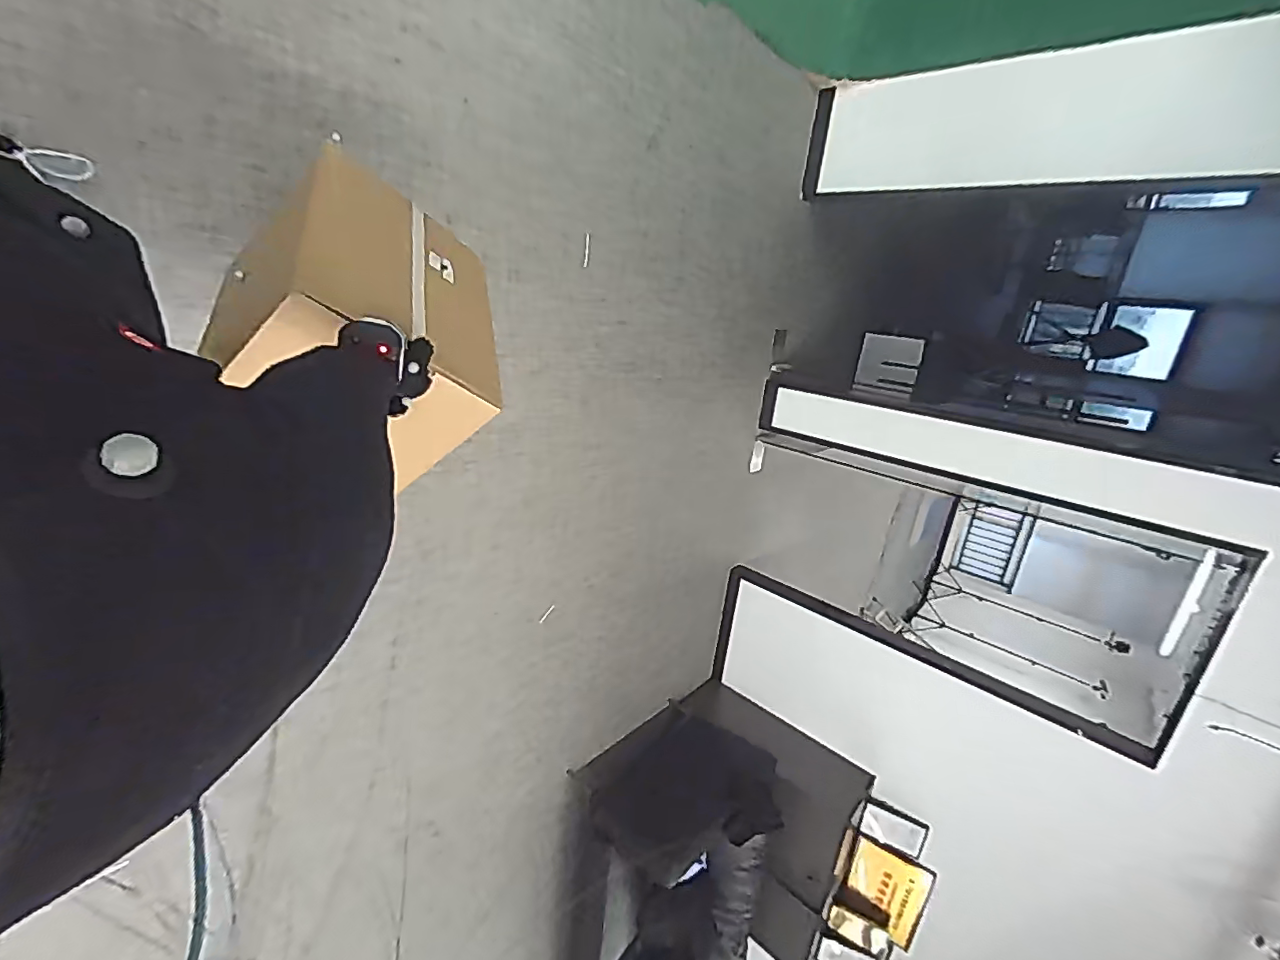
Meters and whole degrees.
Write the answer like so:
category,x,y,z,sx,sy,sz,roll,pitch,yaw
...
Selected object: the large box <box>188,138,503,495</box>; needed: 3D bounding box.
category,x,y,z,sx,sy,sz,roll,pitch,yaw
large box,-0.466,-0.246,0.894,0.320,0.408,0.320,-32,143,22
